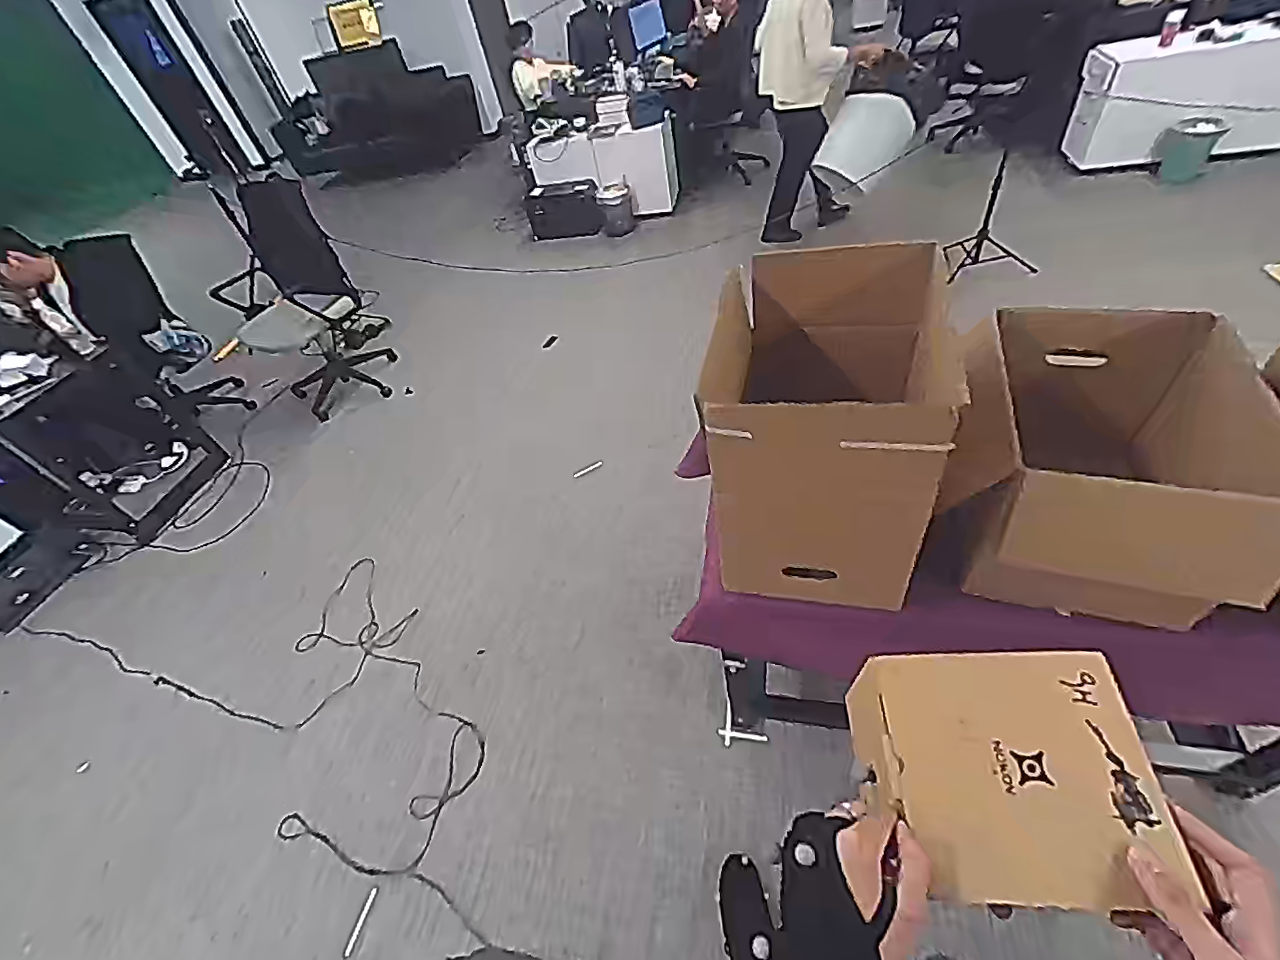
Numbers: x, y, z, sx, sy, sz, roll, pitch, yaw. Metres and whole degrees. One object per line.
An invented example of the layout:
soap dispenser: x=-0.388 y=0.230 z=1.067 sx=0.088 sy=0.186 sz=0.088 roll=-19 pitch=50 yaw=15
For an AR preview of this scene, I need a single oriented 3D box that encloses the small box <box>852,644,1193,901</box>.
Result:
small box: x=0.289 y=0.248 z=0.468 sx=0.179 sy=0.176 sz=0.168 roll=-5 pitch=58 yaw=11
